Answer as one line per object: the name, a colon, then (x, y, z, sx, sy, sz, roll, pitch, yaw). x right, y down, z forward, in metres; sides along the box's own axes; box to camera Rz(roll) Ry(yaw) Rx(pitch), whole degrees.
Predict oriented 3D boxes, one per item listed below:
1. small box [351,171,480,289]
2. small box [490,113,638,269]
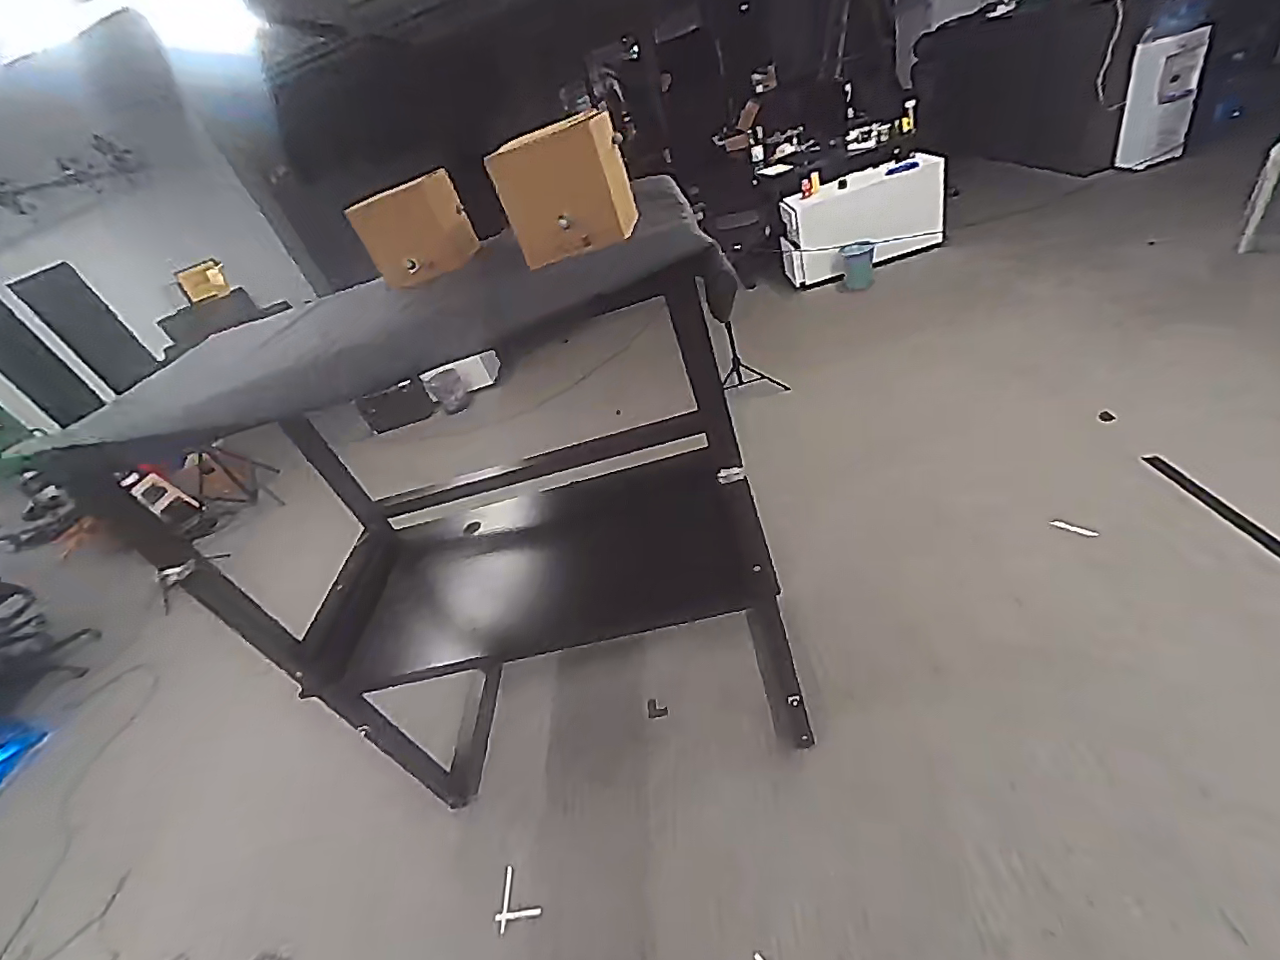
small box: (-0.457, -0.523, 1.136, 0.168, 0.176, 0.179, -15, 35, 10)
small box: (-0.108, -0.460, 0.867, 0.168, 0.176, 0.179, -11, 36, 16)
